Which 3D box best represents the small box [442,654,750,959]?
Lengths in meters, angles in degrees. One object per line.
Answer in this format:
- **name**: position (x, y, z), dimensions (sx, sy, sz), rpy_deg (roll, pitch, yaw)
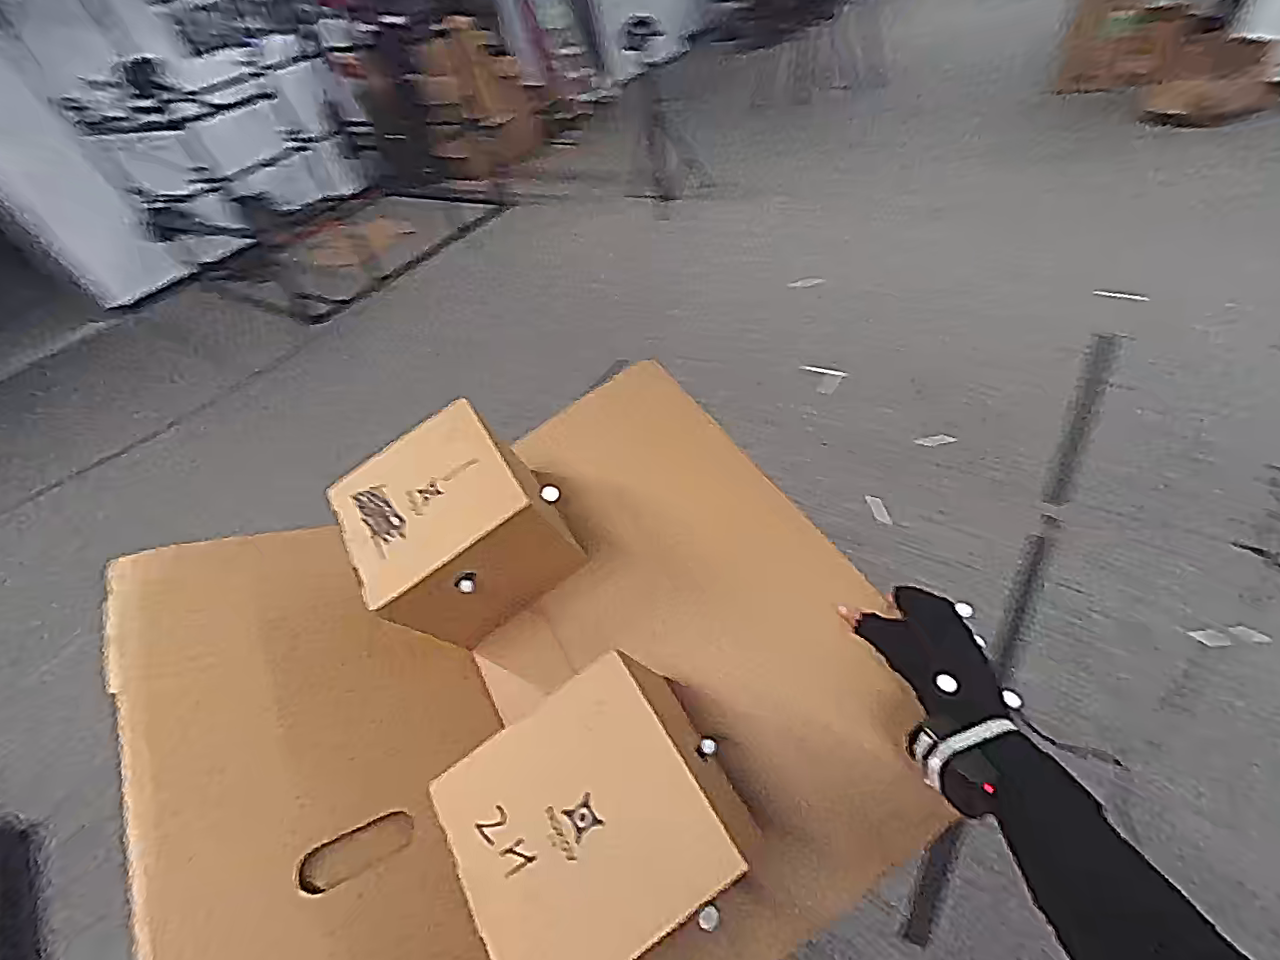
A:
- **small box**: position (-0.023, 0.274, 0.450), dimensions (0.179, 0.176, 0.168), rpy_deg (-35, 59, -2)
